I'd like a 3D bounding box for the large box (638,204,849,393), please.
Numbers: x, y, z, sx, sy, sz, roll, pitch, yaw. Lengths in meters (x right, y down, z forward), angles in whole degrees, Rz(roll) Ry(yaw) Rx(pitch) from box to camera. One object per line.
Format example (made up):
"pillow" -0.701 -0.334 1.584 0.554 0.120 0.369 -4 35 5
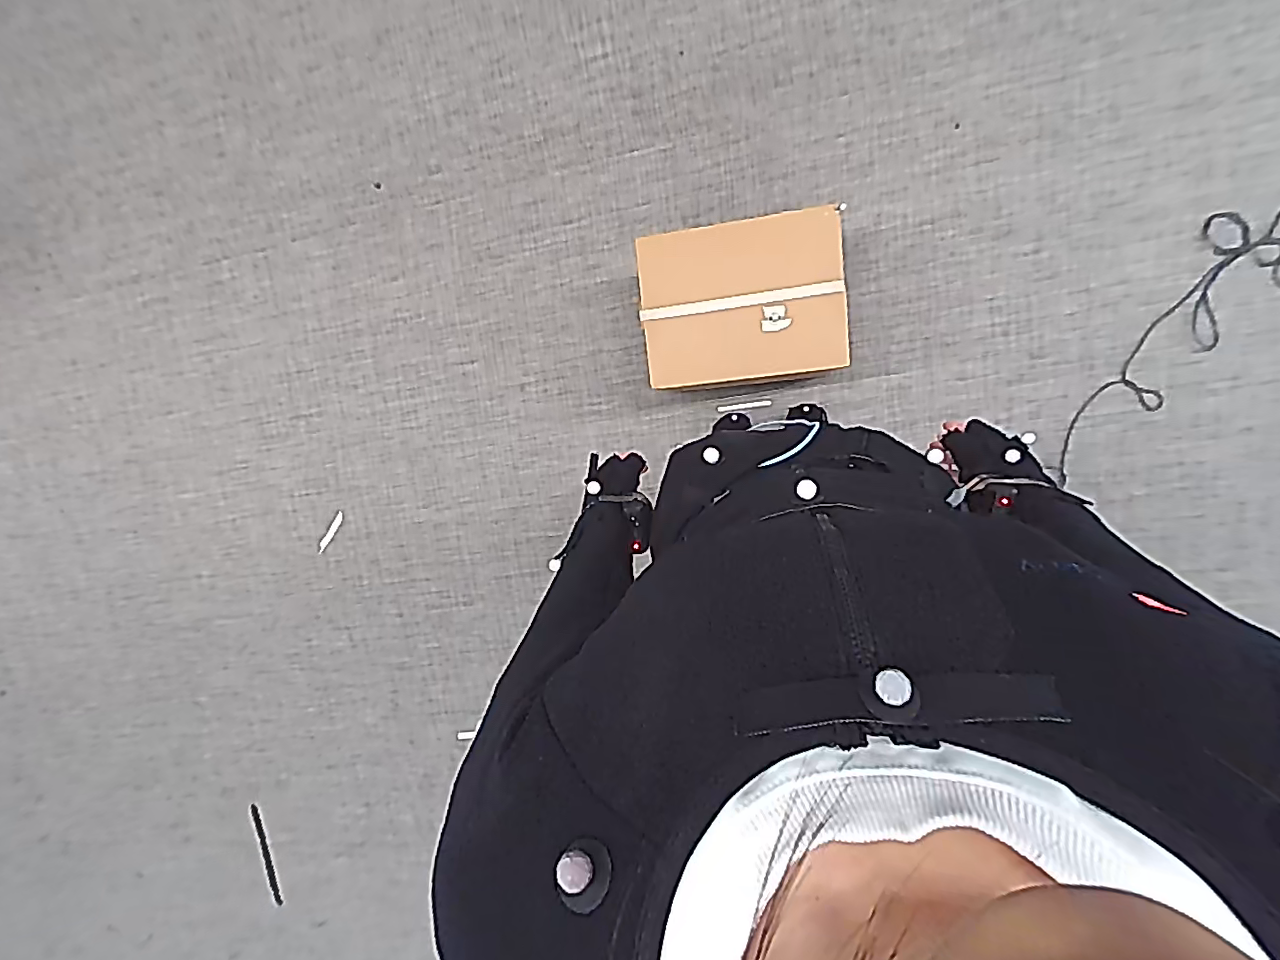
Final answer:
"large box" 0.231 -0.383 1.244 0.408 0.320 0.320 -5 97 11
